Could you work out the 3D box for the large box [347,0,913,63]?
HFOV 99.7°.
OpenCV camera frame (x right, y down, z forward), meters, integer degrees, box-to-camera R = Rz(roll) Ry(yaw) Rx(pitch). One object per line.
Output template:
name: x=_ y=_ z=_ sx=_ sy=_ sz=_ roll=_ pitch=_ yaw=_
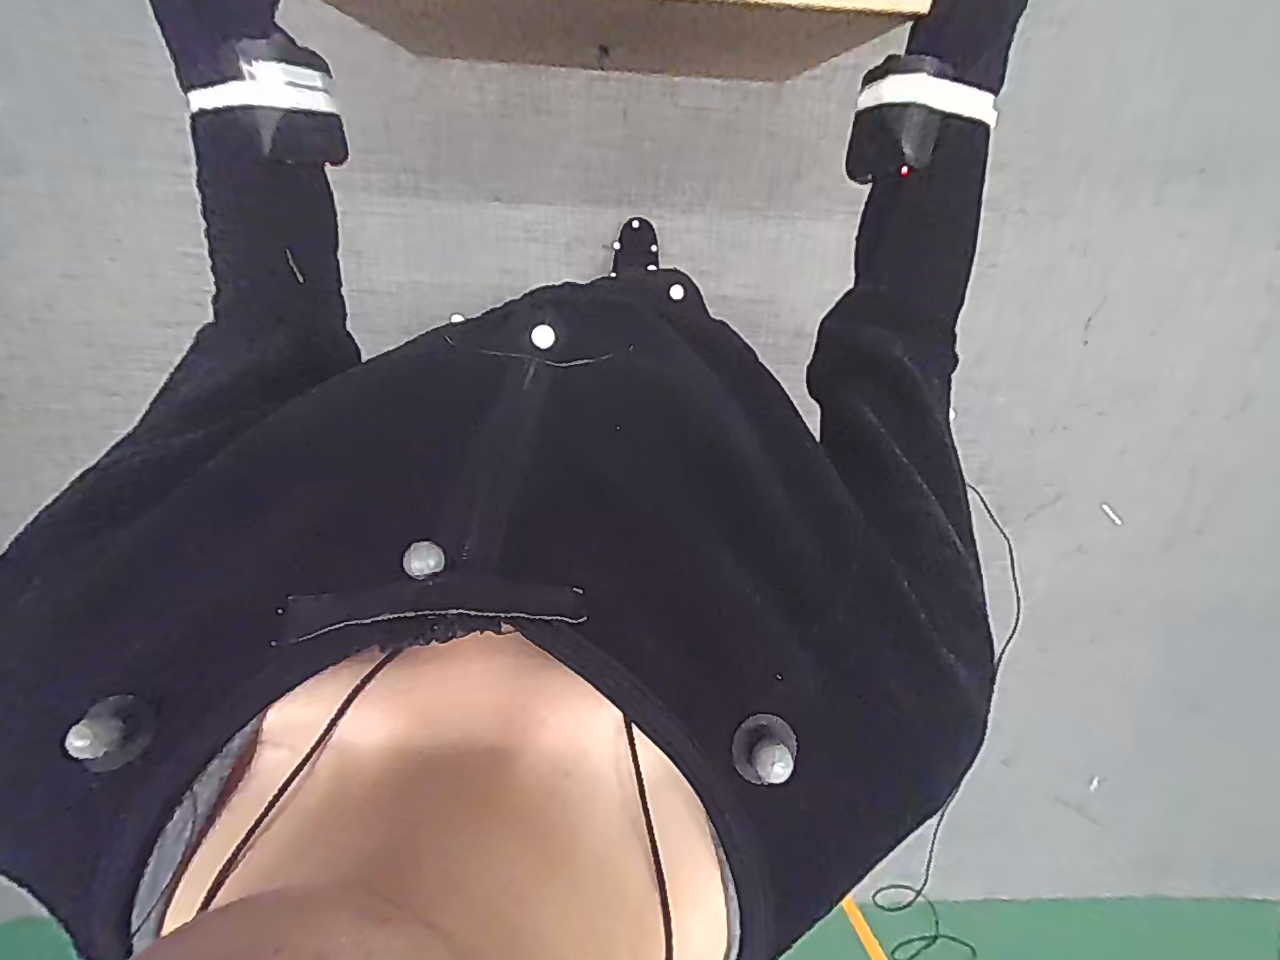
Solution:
large box: x=-0.015 y=-0.513 z=0.386 sx=0.408 sy=0.320 sz=0.320 roll=1 pitch=120 yaw=-3
